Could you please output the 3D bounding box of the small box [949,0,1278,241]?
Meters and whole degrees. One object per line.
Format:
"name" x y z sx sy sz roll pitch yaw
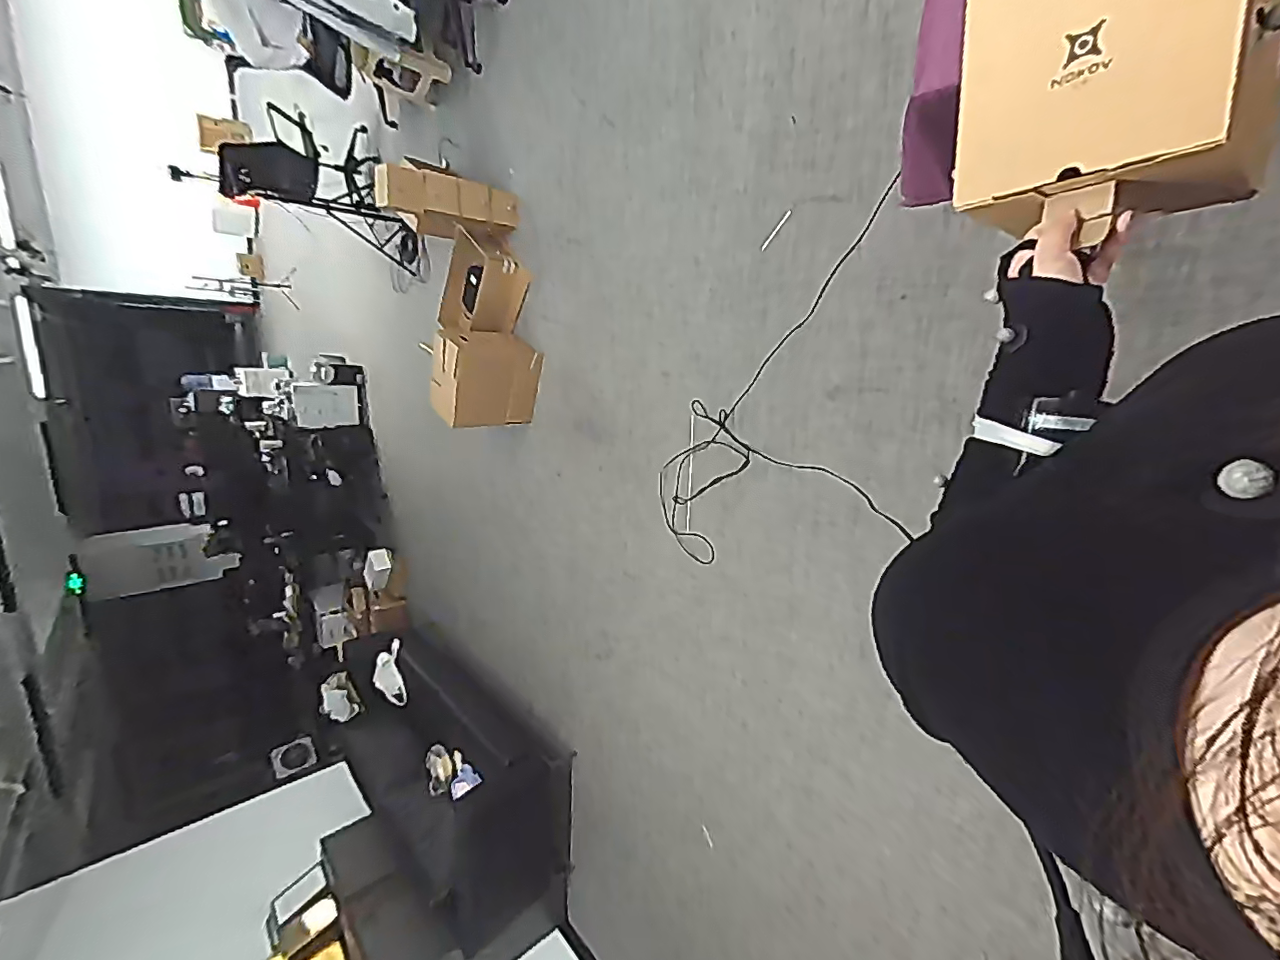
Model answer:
"small box" 0.382 -0.314 0.442 0.168 0.176 0.179 12 106 51
